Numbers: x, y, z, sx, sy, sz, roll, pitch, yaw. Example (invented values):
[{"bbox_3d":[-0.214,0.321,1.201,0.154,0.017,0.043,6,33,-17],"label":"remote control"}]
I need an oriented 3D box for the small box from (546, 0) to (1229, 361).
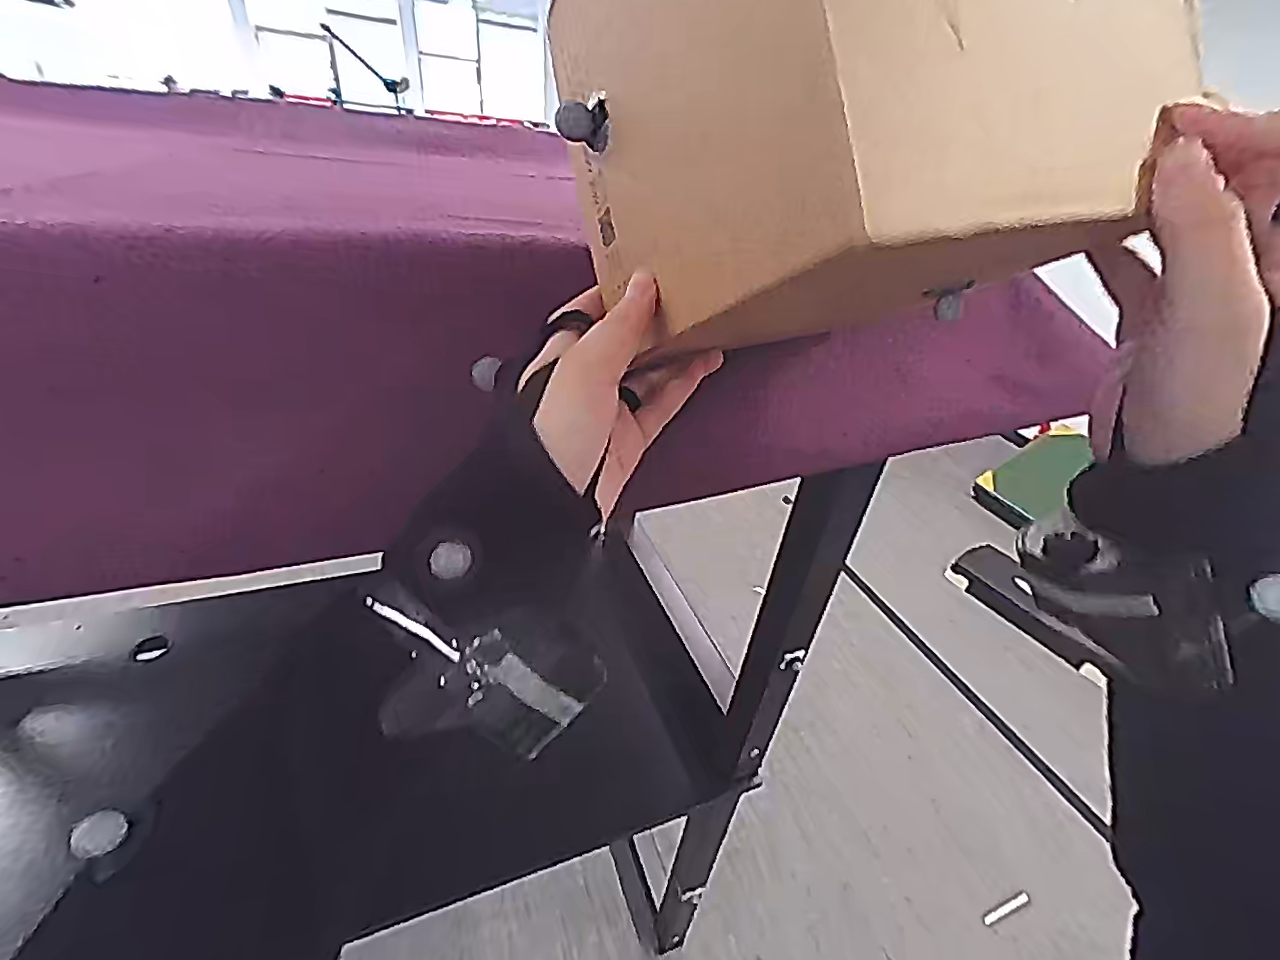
[{"bbox_3d":[0.080,-0.152,0.218,0.179,0.168,0.176,-15,7,-23],"label":"small box"}]
